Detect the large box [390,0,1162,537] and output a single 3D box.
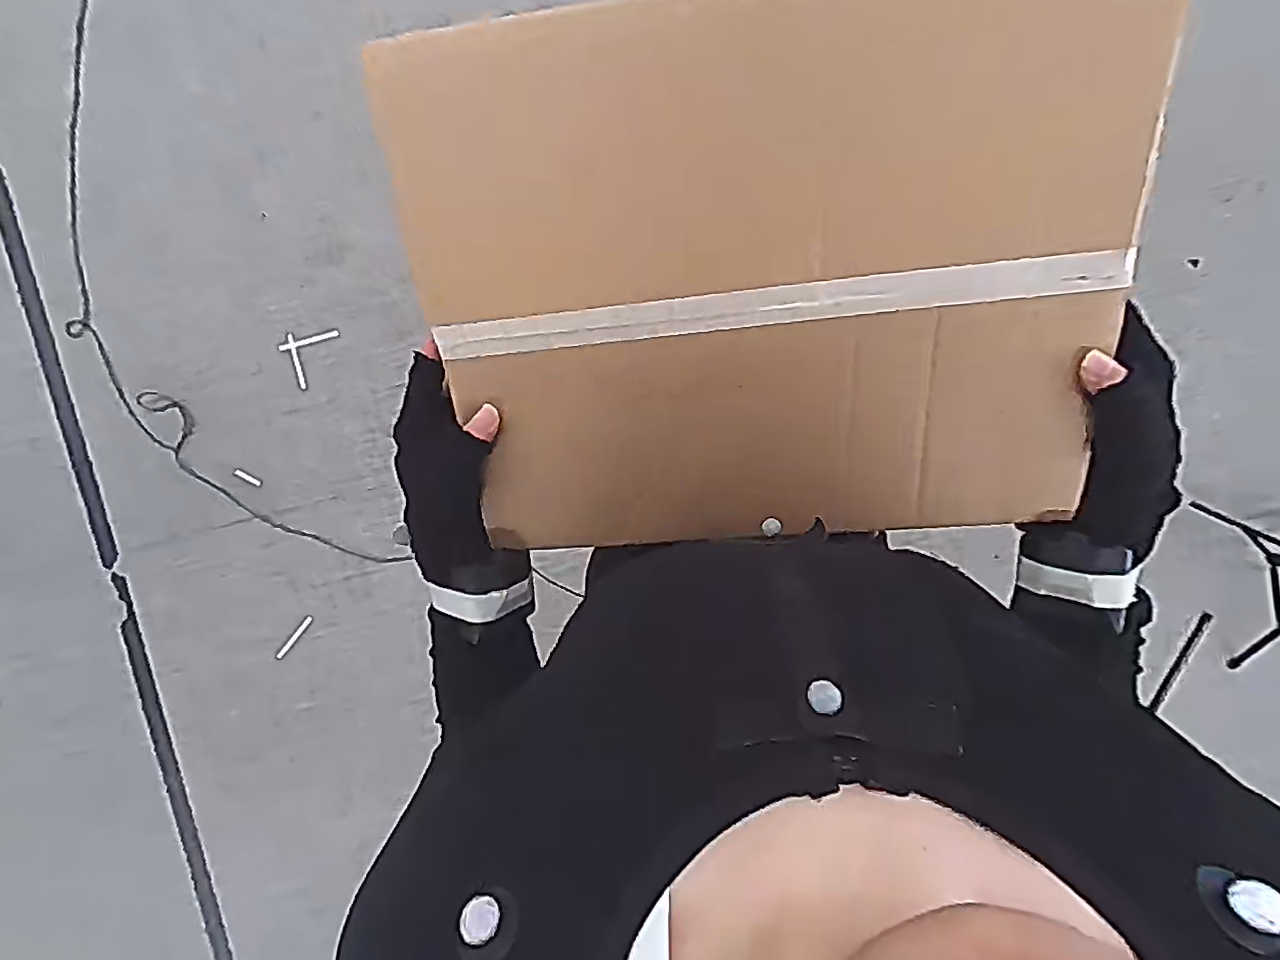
[{"bbox_3d":[0.081,-0.168,0.469,0.408,0.320,0.320,-3,114,6],"label":"large box"}]
